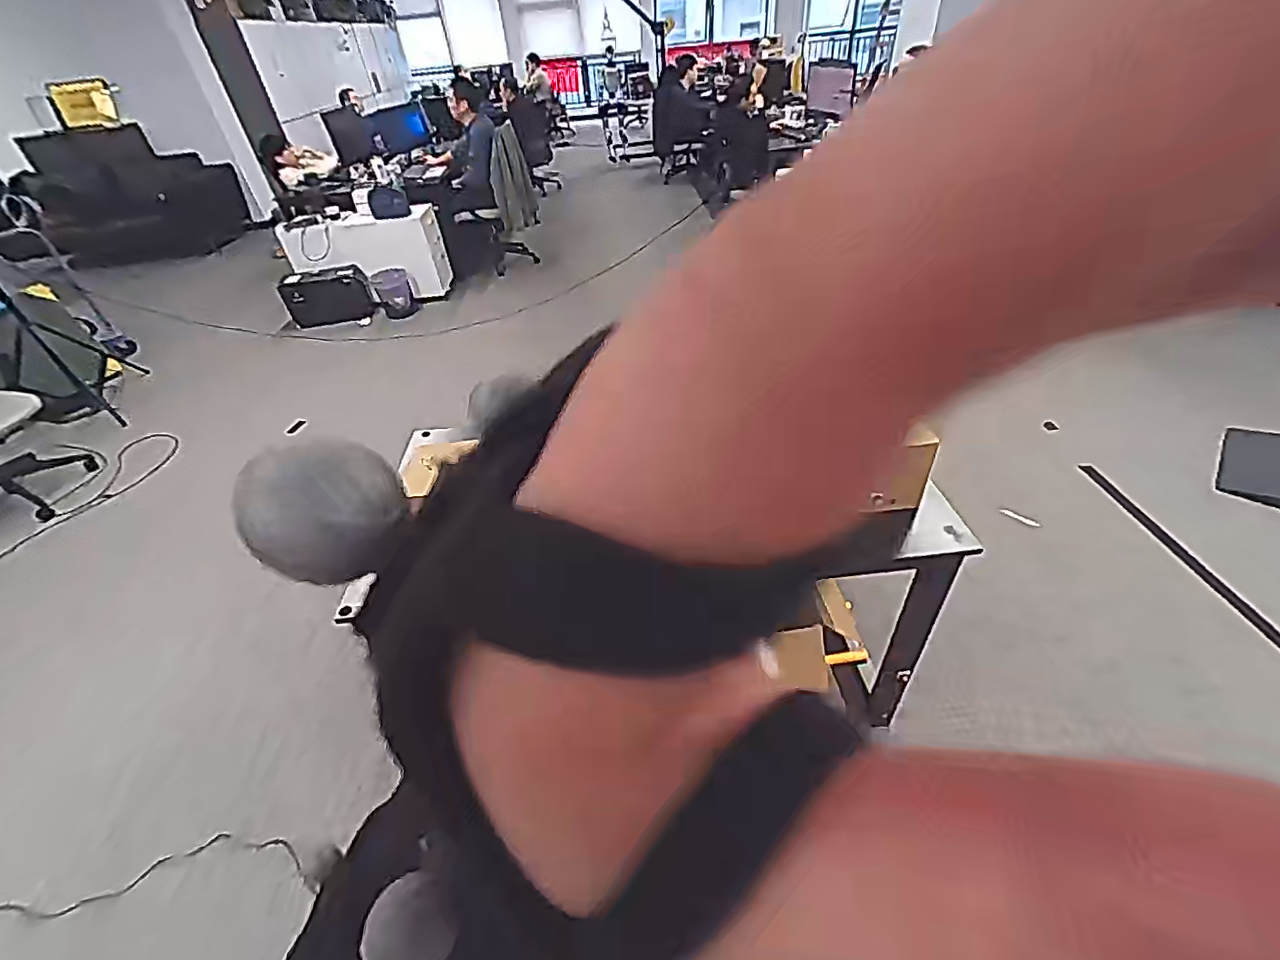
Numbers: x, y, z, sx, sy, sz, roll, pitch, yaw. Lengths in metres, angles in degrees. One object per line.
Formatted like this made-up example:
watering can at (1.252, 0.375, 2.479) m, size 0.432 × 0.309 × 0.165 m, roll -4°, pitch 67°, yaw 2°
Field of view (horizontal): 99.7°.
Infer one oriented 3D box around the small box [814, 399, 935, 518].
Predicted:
small box at (0.469, -0.044, 1.114) m, size 0.168 × 0.176 × 0.179 m, roll -7°, pitch 40°, yaw 1°

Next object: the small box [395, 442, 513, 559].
small box at (-0.365, 0.043, 1.104) m, size 0.179 × 0.176 × 0.168 m, roll -6°, pitch 39°, yaw -1°
